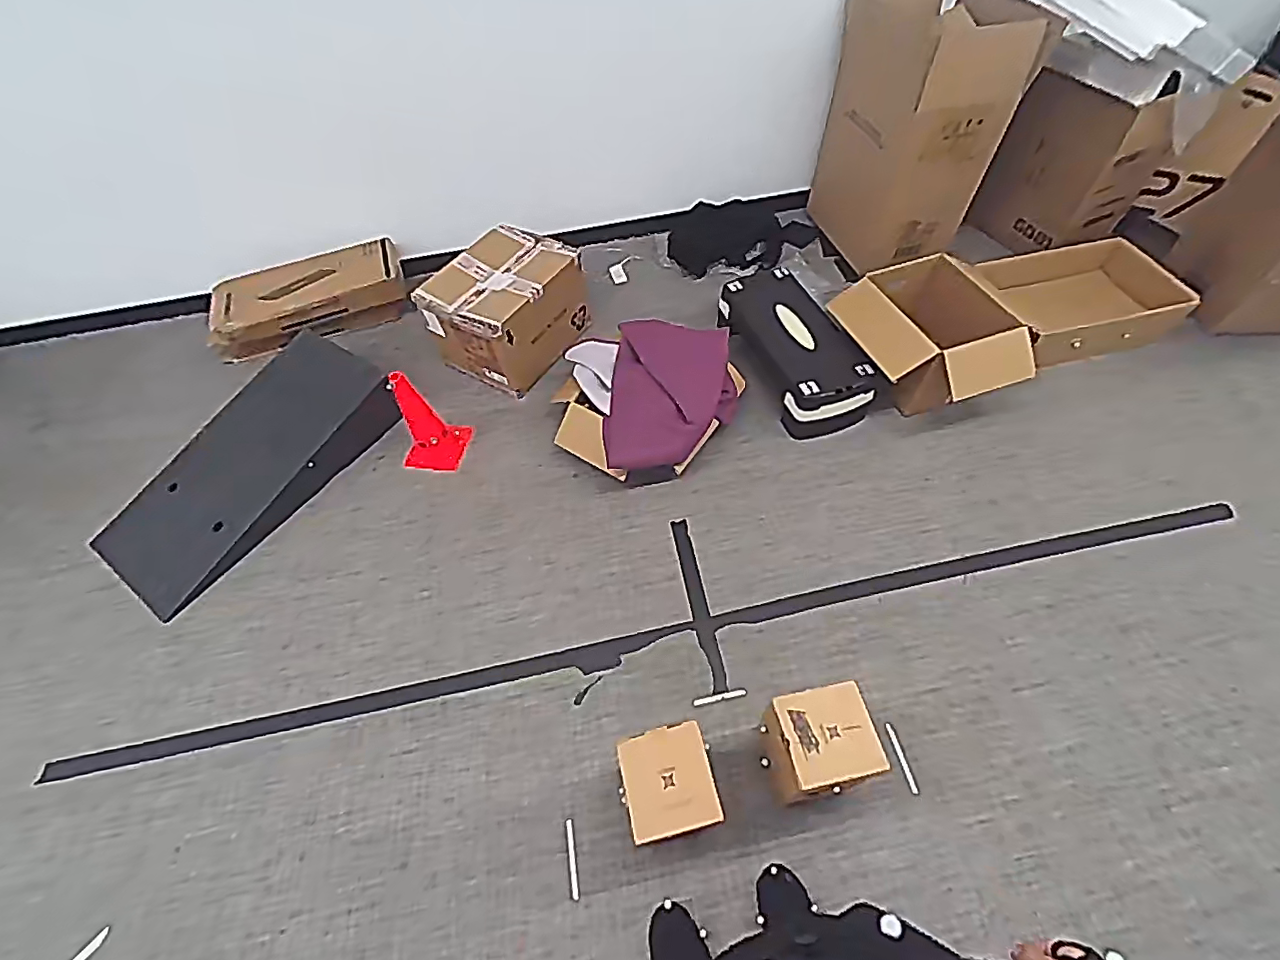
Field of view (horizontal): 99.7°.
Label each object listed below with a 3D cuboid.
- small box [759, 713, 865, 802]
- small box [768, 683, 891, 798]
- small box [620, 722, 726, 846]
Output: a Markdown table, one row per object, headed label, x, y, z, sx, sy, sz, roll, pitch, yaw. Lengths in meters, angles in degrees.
| label | x | y | z | sx | sy | sz | roll | pitch | yaw |
| --- | --- | --- | --- | --- | --- | --- | --- | --- | --- |
| small box | 0.383 | 0.624 | 1.233 | 0.168 | 0.176 | 0.179 | -9 | 57 | -3 |
| small box | 0.368 | 0.532 | 1.096 | 0.179 | 0.176 | 0.168 | -10 | 56 | -4 |
| small box | 0.063 | 0.605 | 1.072 | 0.168 | 0.176 | 0.179 | -14 | 57 | -3 |
